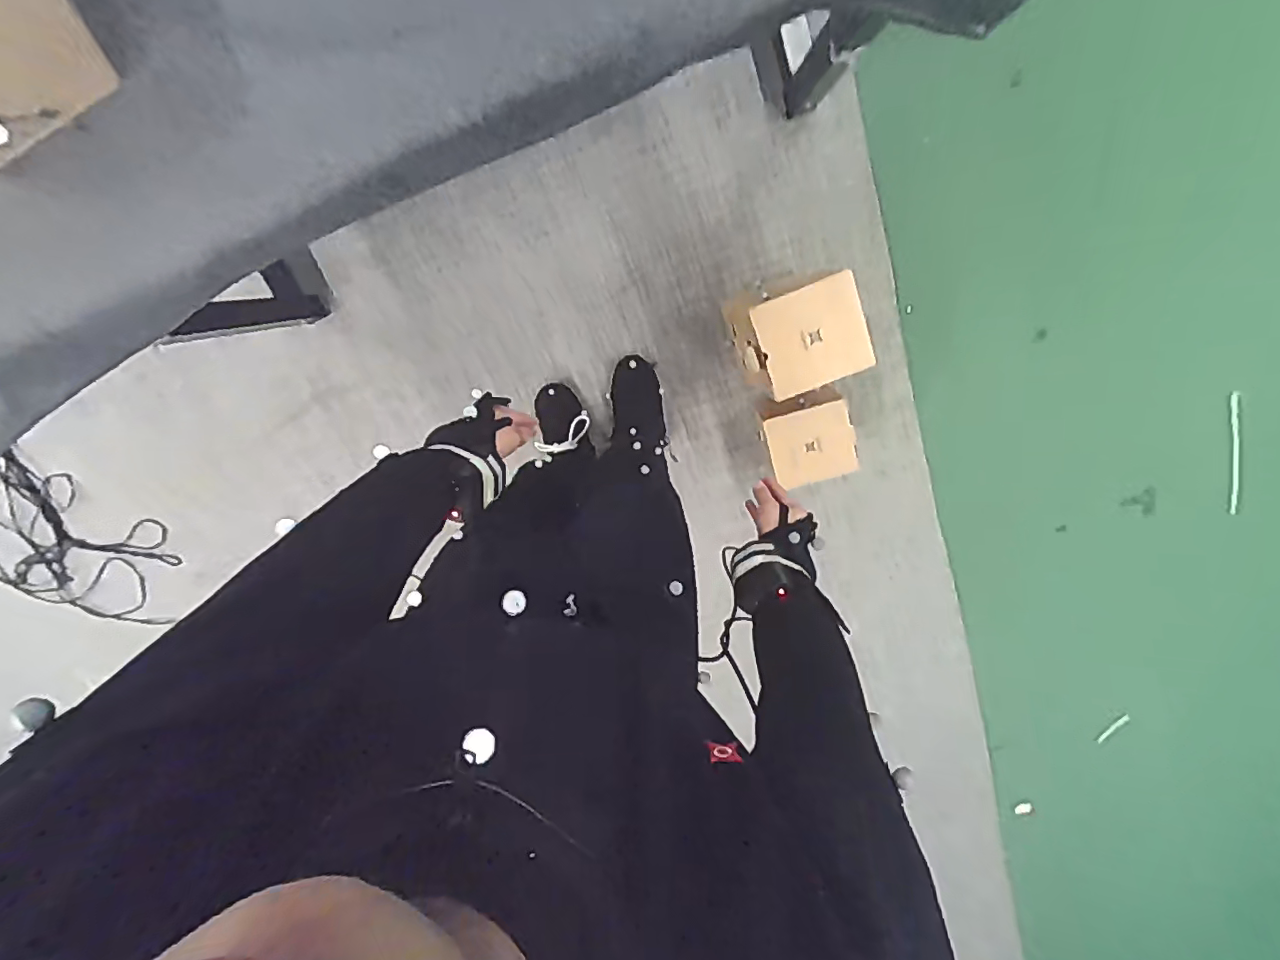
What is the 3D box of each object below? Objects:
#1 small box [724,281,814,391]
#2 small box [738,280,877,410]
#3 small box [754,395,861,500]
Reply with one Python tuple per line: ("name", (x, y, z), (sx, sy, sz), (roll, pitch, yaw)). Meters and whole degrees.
("small box", (0.281, -0.299, 1.126), (0.179, 0.176, 0.168), (-19, 106, 9))
("small box", (0.291, -0.248, 0.969), (0.179, 0.176, 0.168), (-21, 108, 10))
("small box", (0.366, -0.079, 1.202), (0.179, 0.176, 0.168), (-16, 107, 10))
